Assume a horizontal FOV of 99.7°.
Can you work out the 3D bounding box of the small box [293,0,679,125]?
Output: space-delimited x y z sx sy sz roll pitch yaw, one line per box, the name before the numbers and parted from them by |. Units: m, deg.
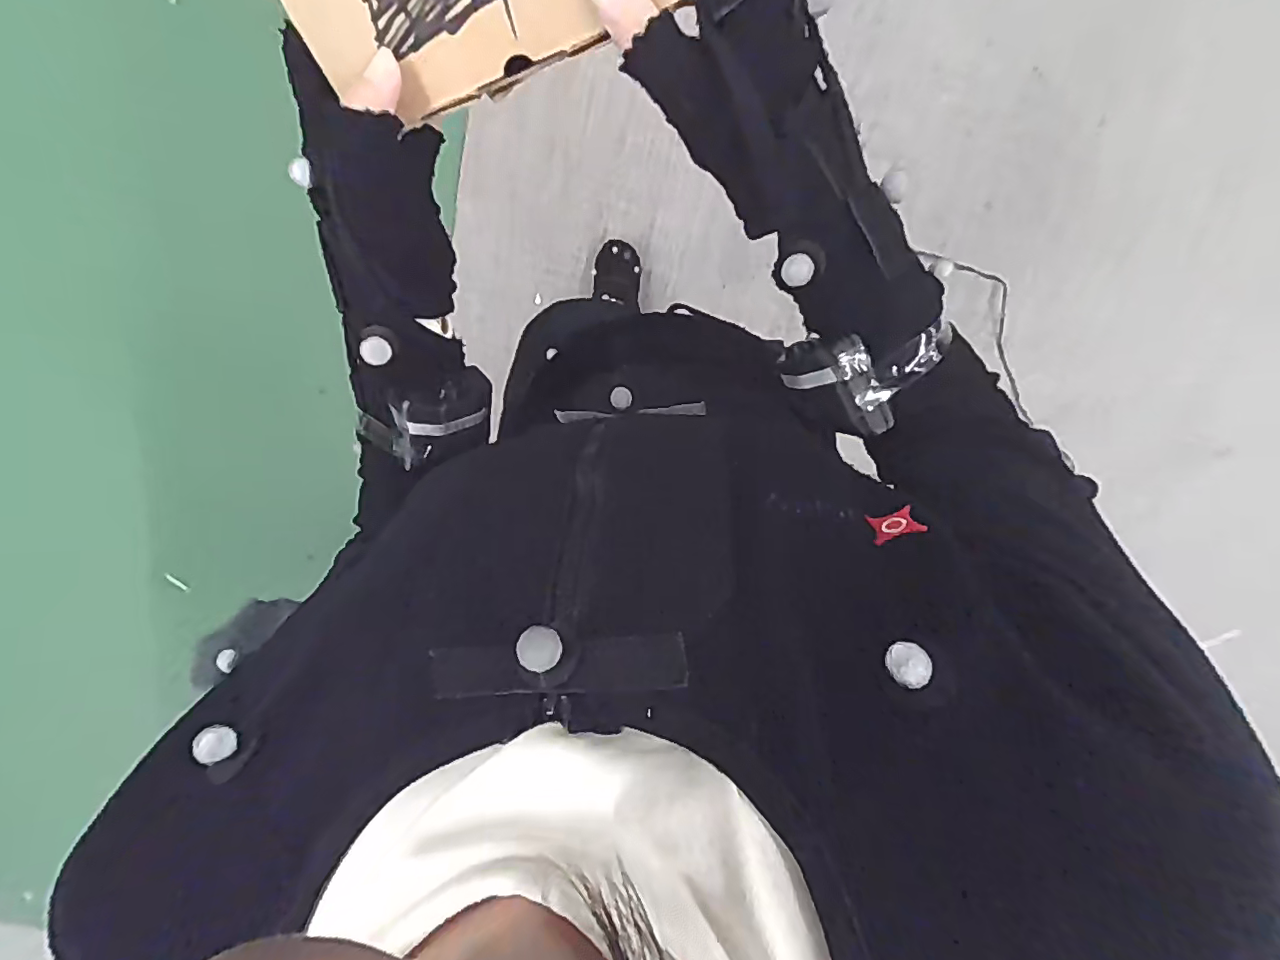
small box | -0.078 -0.302 0.243 0.168 0.176 0.179 -12 132 13
